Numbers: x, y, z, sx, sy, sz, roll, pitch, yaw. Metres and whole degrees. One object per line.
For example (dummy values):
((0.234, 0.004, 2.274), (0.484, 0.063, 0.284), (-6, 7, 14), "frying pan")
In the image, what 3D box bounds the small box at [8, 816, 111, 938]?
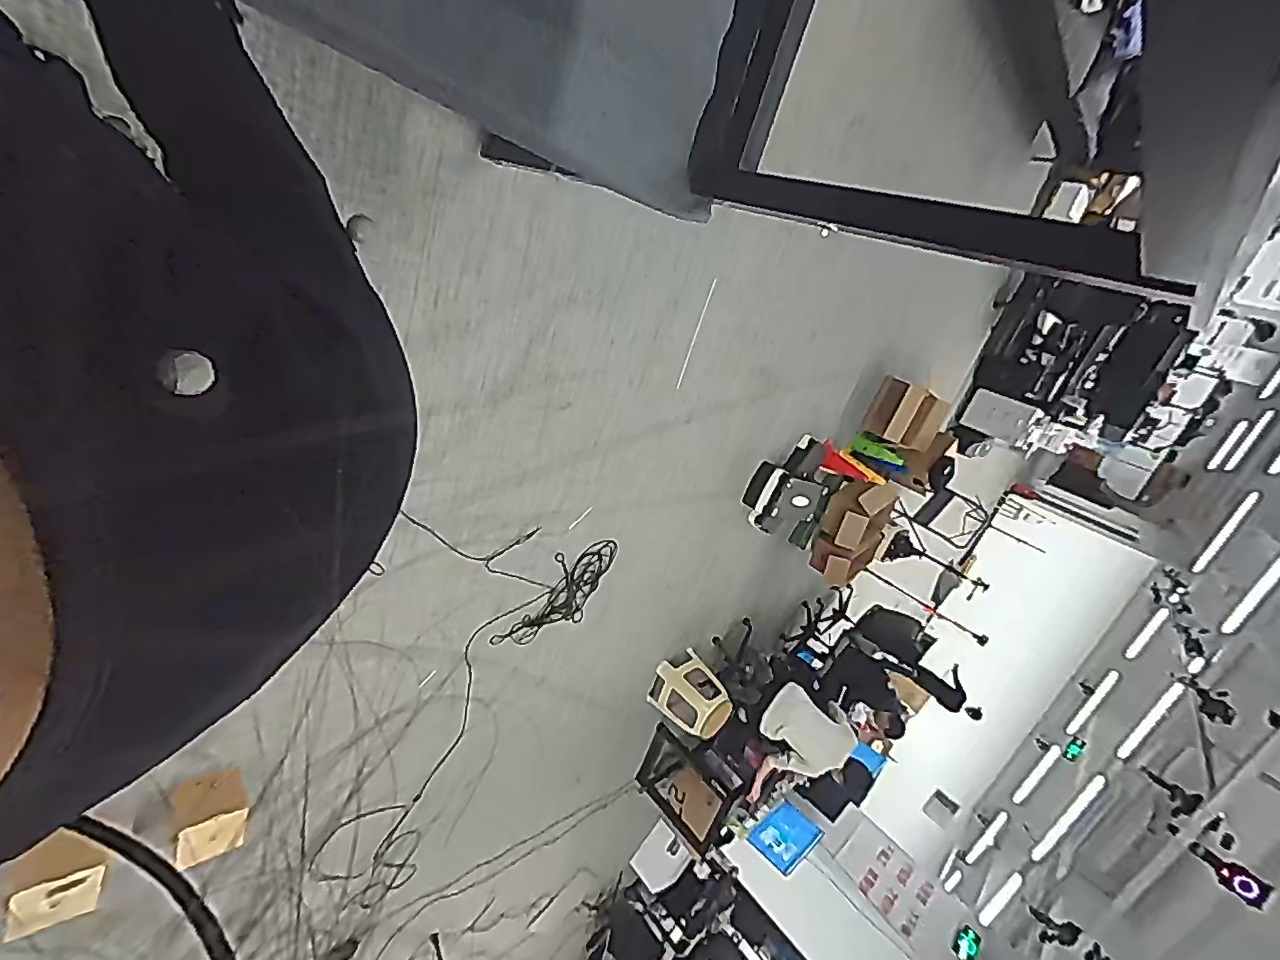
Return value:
((-1.534, 1.031, 1.428), (0.168, 0.176, 0.179), (9, 111, -50), "small box")

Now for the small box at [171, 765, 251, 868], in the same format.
((-1.321, 1.024, 1.660), (0.168, 0.176, 0.179), (-1, 117, -48), "small box")
